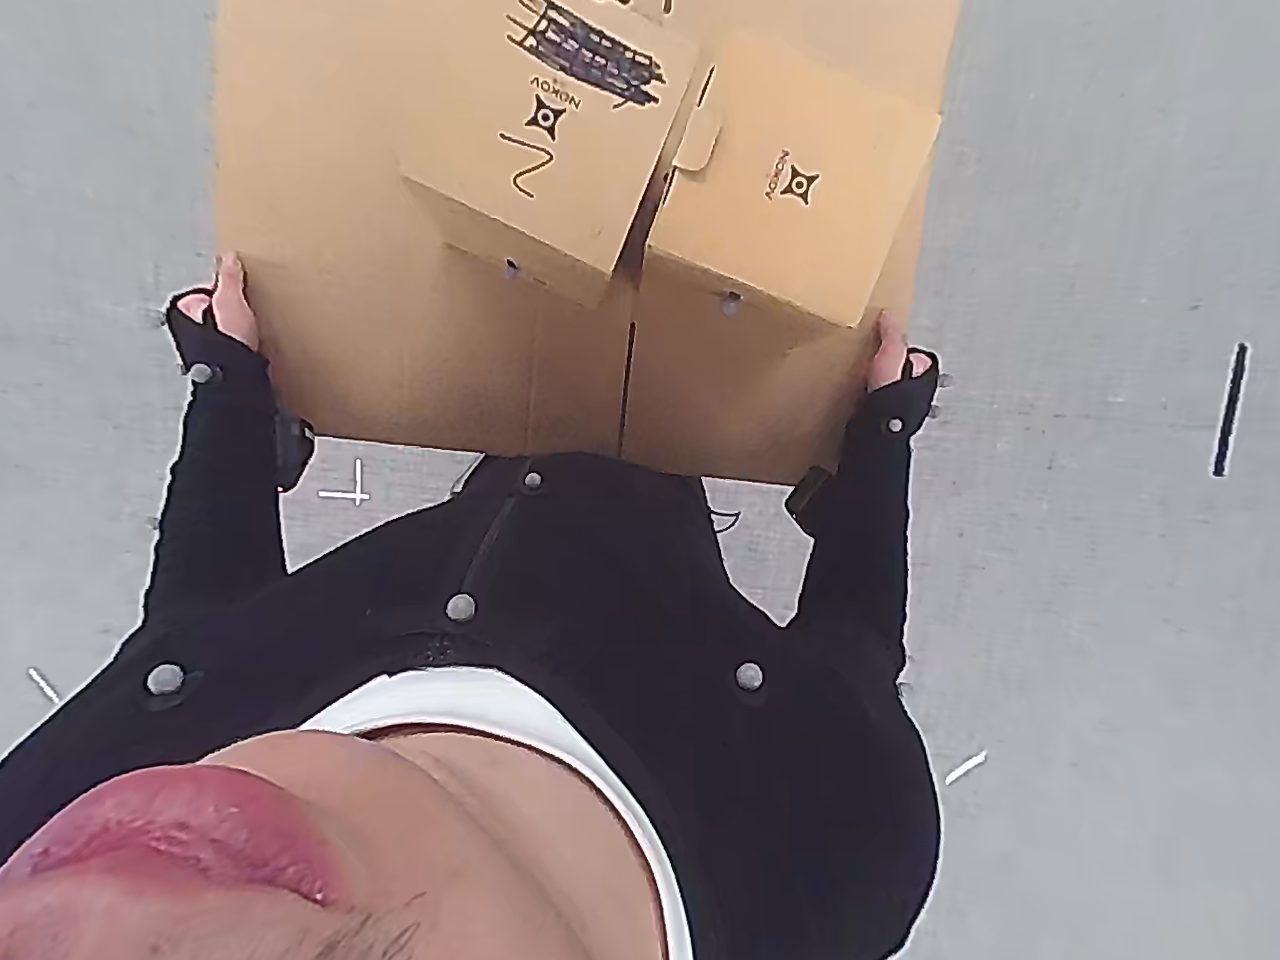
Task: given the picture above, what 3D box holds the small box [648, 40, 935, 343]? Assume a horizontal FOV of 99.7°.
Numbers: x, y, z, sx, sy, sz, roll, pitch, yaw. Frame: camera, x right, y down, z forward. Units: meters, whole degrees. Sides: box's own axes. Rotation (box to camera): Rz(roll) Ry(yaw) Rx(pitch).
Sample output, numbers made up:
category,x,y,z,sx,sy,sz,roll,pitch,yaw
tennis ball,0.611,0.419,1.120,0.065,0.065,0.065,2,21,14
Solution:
category,x,y,z,sx,sy,sz,roll,pitch,yaw
small box,0.116,-0.234,0.495,0.179,0.176,0.168,21,96,-3
